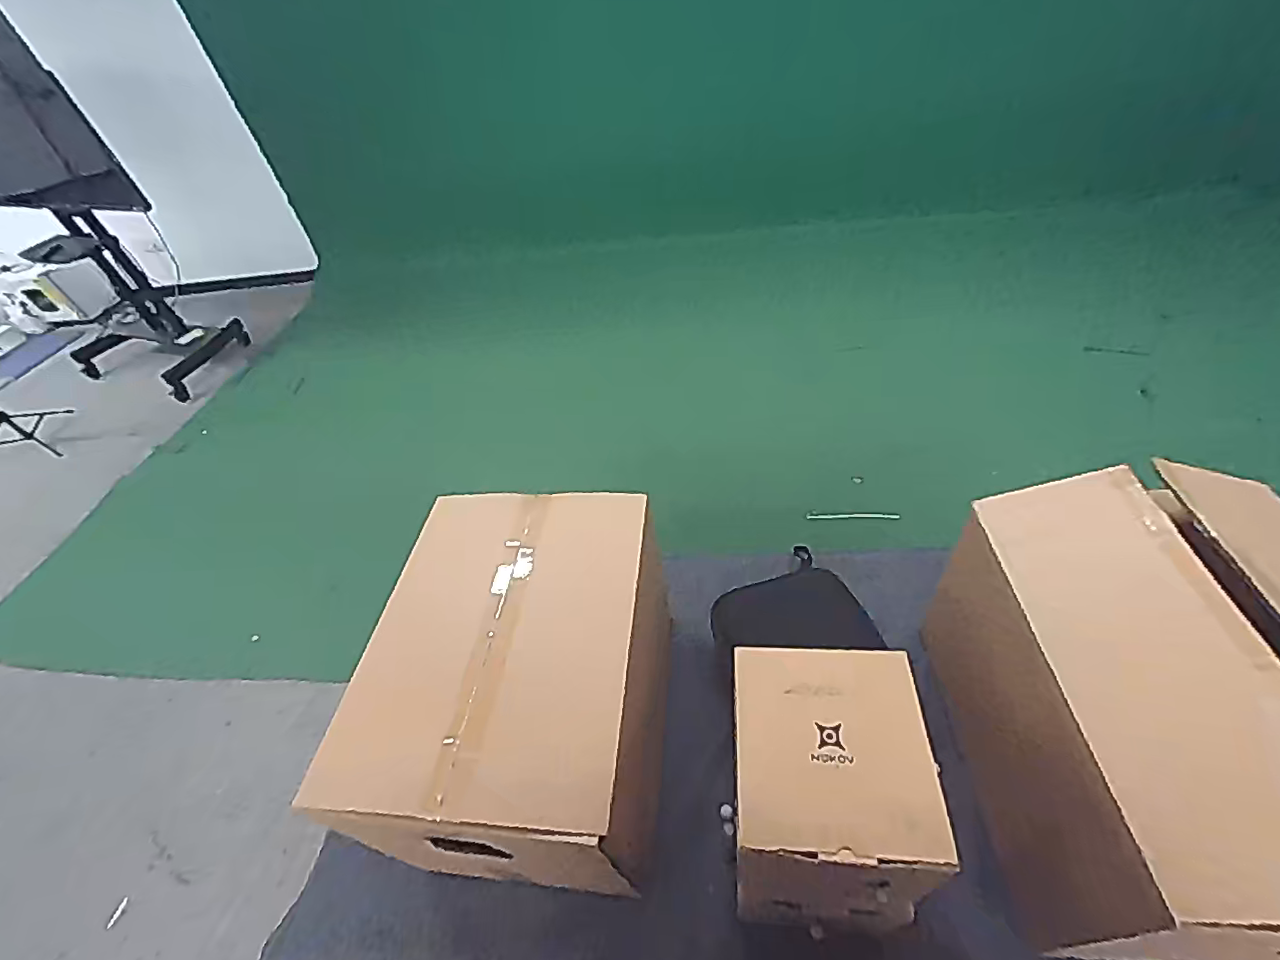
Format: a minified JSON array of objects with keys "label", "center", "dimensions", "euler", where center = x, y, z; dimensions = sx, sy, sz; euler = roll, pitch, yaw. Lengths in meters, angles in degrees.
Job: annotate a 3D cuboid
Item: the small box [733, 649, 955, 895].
[{"label":"small box","center":[0.179,0.289,0.537],"dimensions":[0.168,0.176,0.179],"euler":[-1,45,8]}]
